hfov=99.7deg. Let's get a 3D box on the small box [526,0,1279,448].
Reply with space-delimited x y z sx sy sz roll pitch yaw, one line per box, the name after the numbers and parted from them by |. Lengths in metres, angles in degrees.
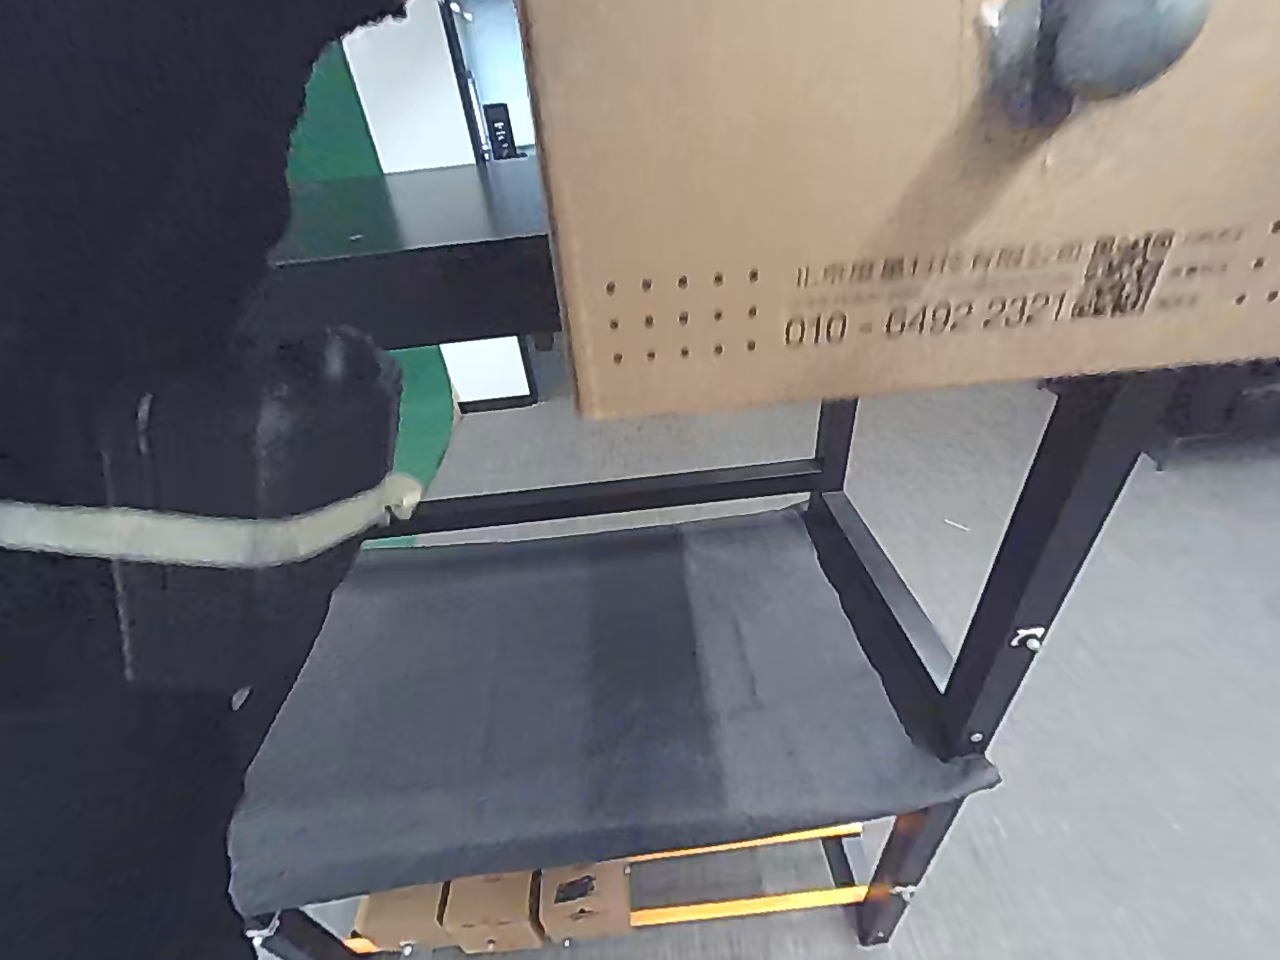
0.059 -0.123 0.151 0.168 0.176 0.179 -5 32 -1 | small box
